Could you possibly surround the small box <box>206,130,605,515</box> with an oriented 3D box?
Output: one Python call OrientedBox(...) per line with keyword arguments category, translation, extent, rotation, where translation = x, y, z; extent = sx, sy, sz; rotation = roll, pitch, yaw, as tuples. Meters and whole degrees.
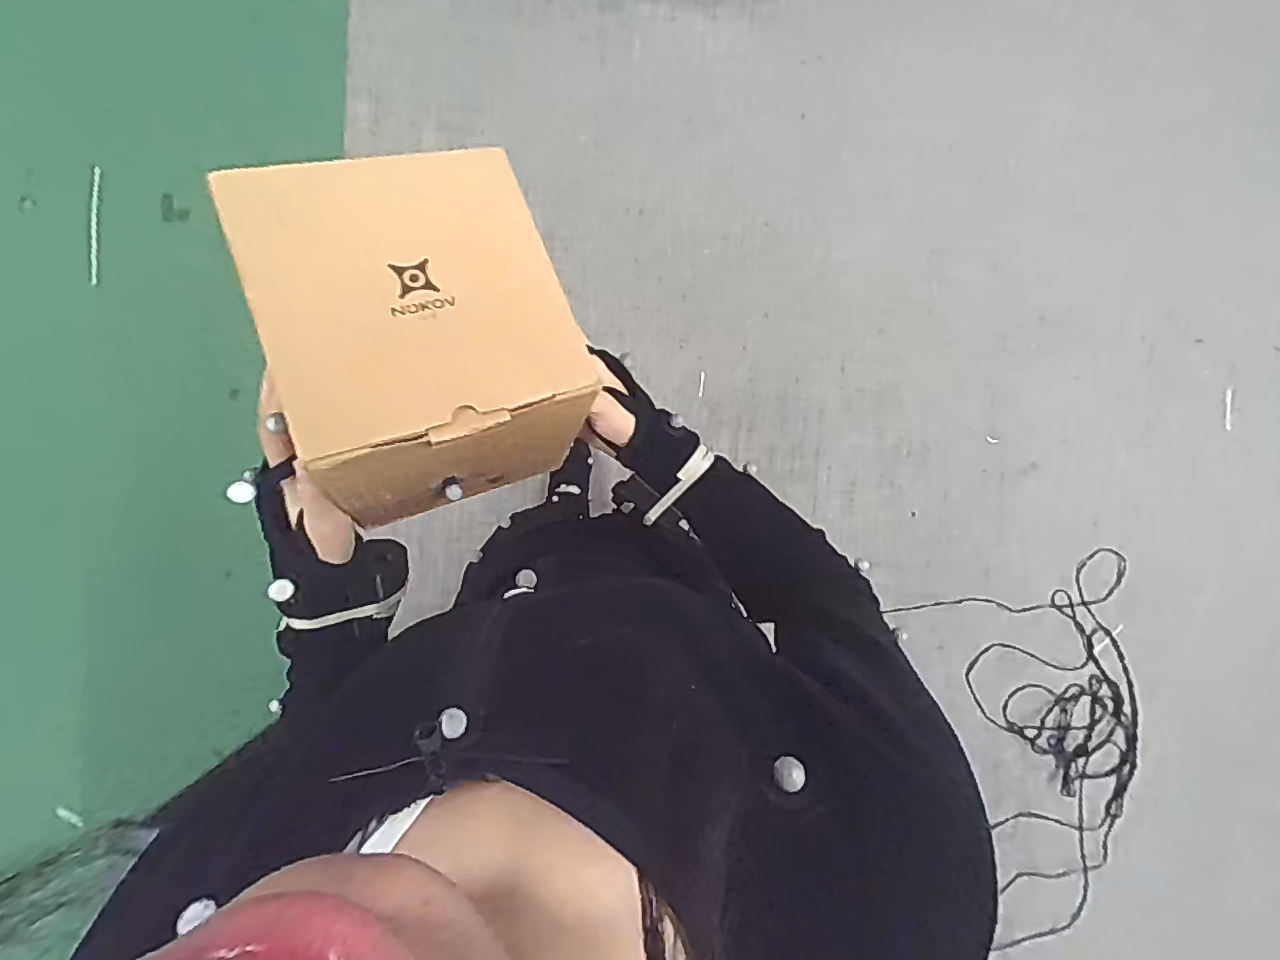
OrientedBox(category="small box", translation=(-0.146, -0.095, 0.367), extent=(0.168, 0.176, 0.179), rotation=(-19, 81, -22))
